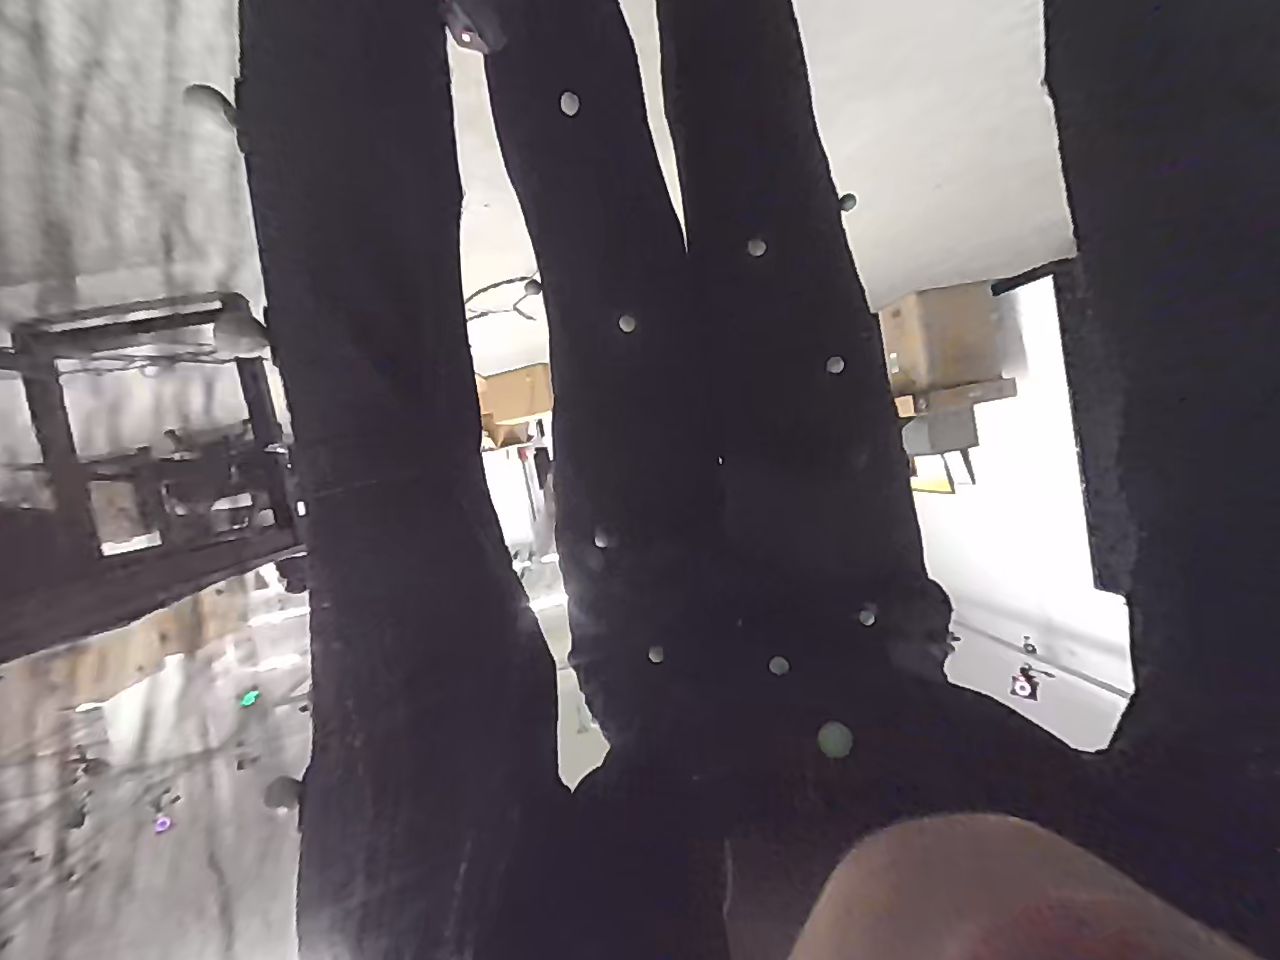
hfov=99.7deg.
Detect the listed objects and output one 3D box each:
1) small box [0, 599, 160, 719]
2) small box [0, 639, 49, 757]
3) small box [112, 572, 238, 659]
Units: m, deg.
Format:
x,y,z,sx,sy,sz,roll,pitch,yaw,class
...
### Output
x,y,z,sx,sy,sz,roll,pitch,yaw,class
-1.086,0.338,1.033,0.179,0.176,0.168,-10,-177,-9,small box
-1.053,0.348,0.792,0.179,0.176,0.168,-11,-176,-7,small box
-1.132,0.328,1.317,0.179,0.176,0.168,-10,-177,-7,small box
